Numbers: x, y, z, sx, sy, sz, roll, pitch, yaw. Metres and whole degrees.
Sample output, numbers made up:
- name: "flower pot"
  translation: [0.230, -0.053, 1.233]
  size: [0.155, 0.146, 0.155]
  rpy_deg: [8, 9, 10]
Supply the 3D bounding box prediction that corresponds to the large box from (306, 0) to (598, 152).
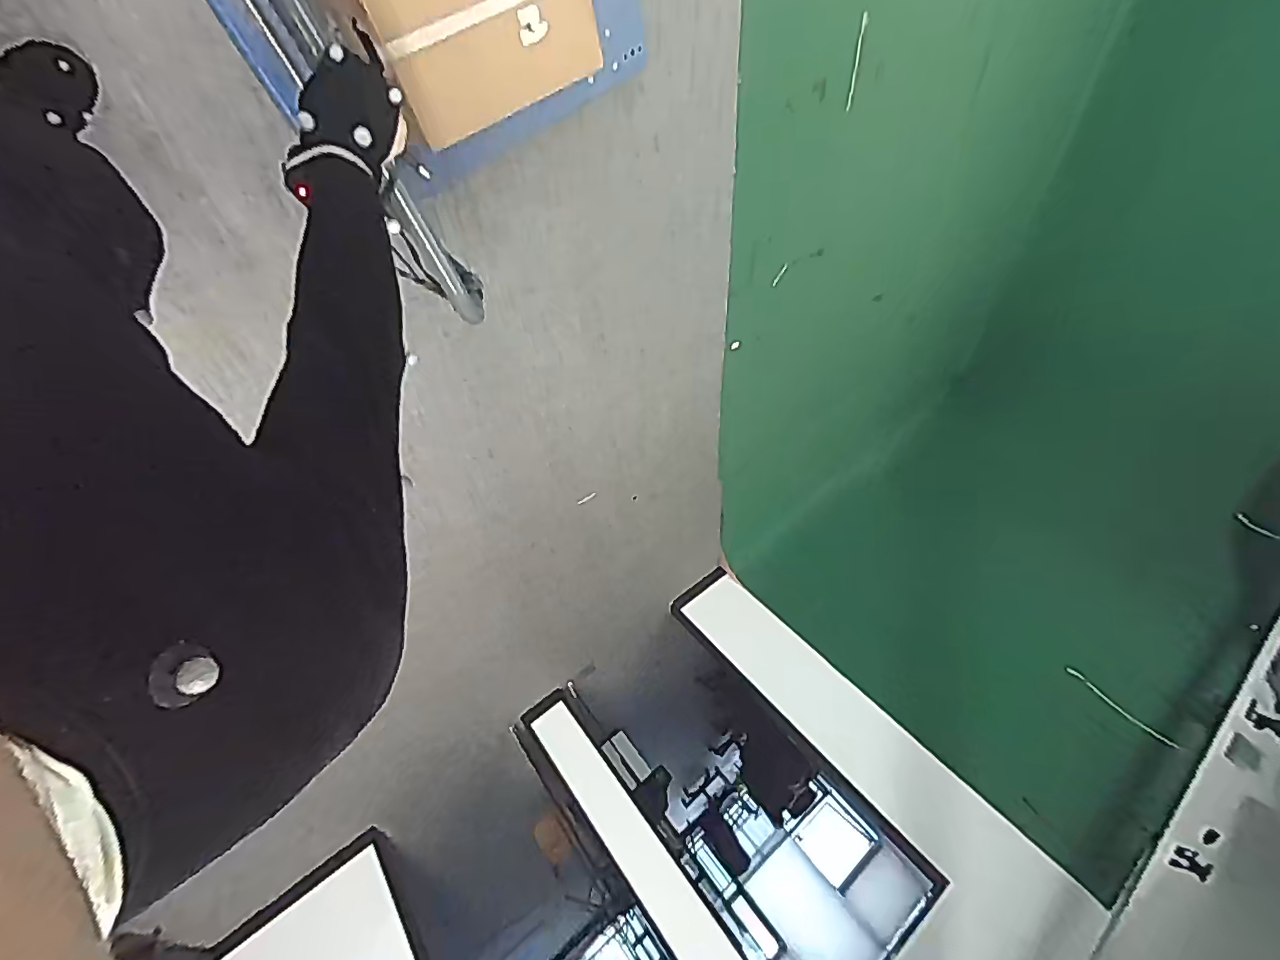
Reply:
- name: "large box"
  translation: [-0.355, -0.876, 0.996]
  size: [0.408, 0.320, 0.320]
  rpy_deg: [-38, 144, -16]
